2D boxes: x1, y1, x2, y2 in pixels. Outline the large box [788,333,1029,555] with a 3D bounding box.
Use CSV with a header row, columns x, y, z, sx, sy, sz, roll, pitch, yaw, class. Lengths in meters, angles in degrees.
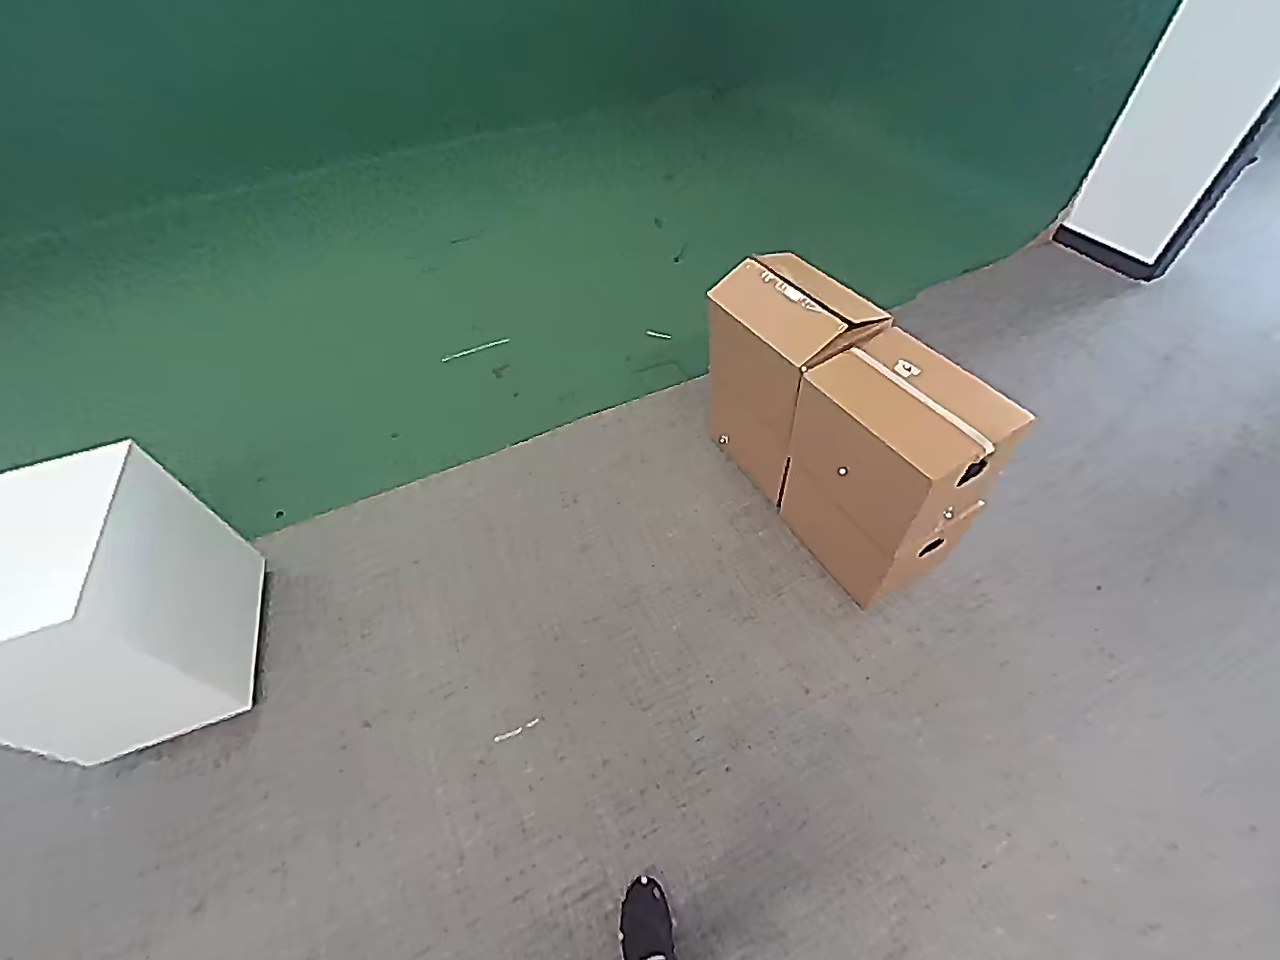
x,y,z,sx,sy,sz,roll,pitch,yaw,class
0.630,-0.094,1.354,0.320,0.320,0.408,-27,52,-15,large box
